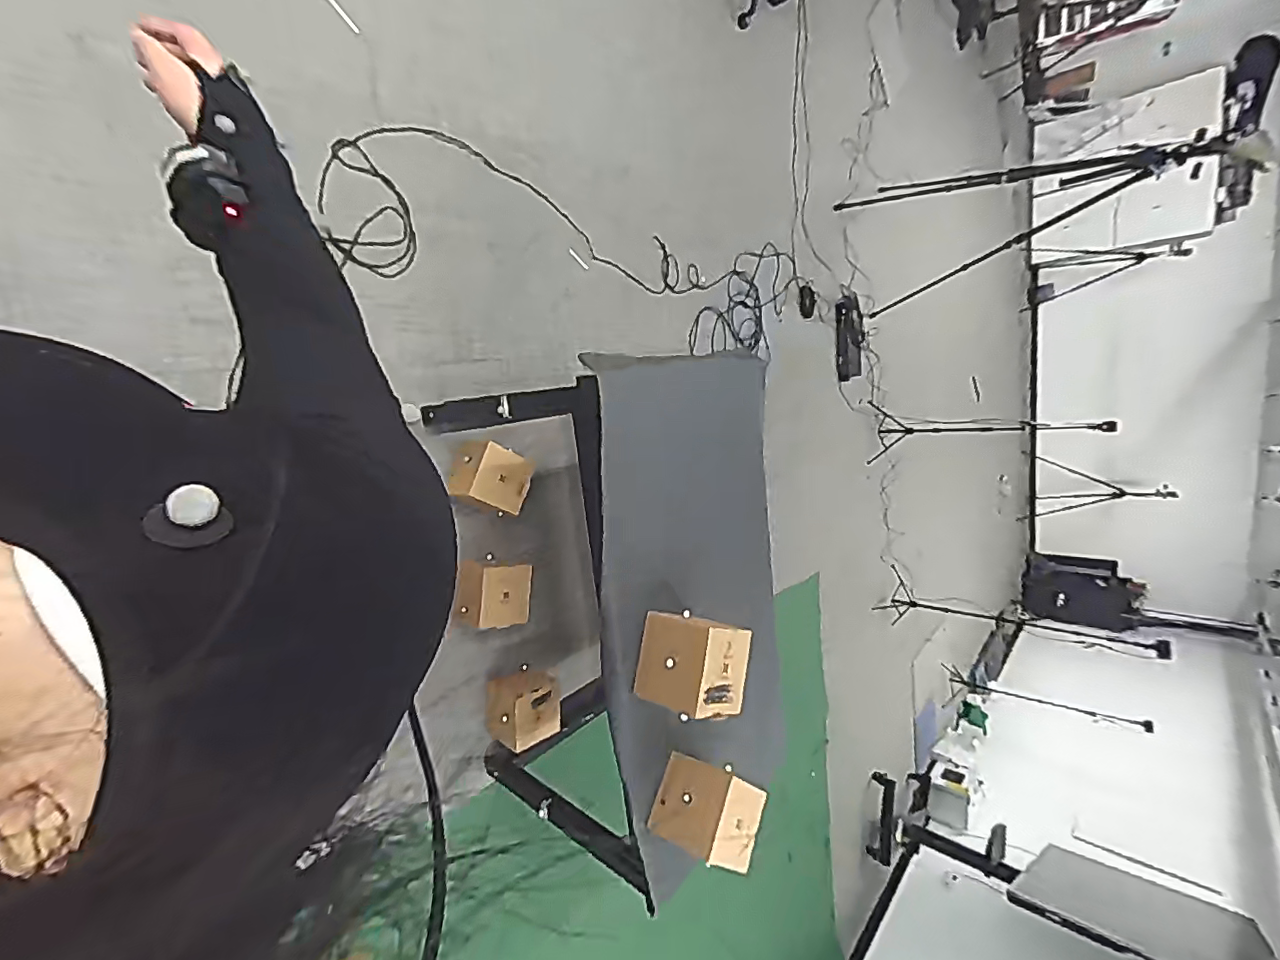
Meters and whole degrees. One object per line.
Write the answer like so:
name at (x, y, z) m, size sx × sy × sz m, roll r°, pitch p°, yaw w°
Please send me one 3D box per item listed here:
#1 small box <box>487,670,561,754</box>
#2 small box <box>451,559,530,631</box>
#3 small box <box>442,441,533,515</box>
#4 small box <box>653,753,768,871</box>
small box at (-0.371, 0.721, 1.711) m, size 0.168 × 0.176 × 0.179 m, roll -9°, pitch 99°, yaw -45°
small box at (-0.449, 0.337, 1.615) m, size 0.168 × 0.176 × 0.179 m, roll 3°, pitch 87°, yaw -47°
small box at (-0.453, -0.003, 1.599) m, size 0.179 × 0.176 × 0.168 m, roll 30°, pitch 70°, yaw -43°
small box at (0.155, 0.730, 1.201) m, size 0.179 × 0.176 × 0.168 m, roll 46°, pitch 57°, yaw -38°
